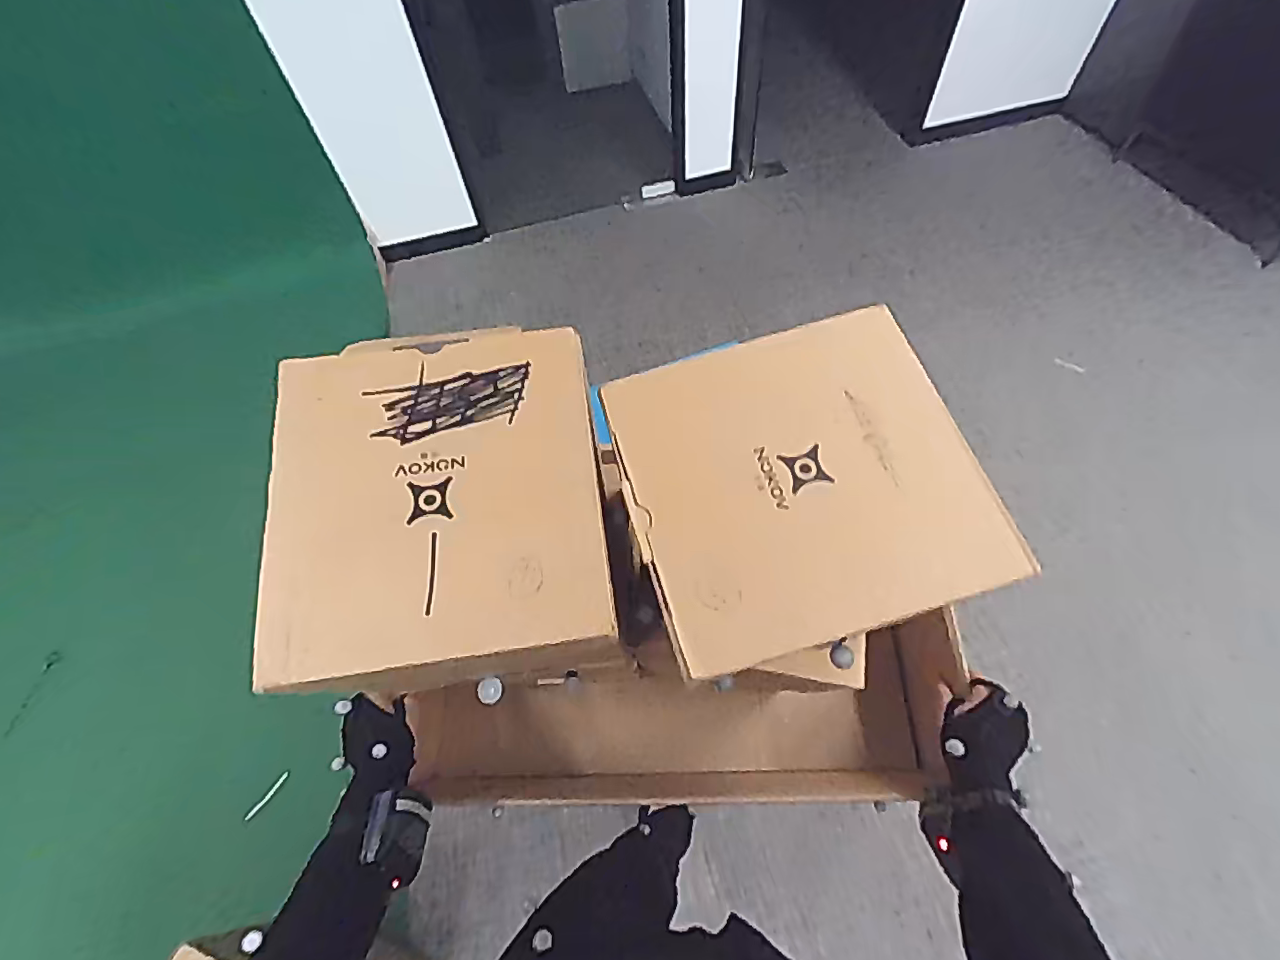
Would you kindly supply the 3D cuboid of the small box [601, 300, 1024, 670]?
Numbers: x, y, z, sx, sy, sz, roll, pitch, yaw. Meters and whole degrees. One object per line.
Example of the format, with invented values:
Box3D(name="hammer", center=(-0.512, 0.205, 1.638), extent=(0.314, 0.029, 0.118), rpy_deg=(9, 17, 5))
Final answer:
Box3D(name="small box", center=(0.086, 0.019, 0.357), extent=(0.179, 0.176, 0.168), rpy_deg=(-16, 68, -3))
